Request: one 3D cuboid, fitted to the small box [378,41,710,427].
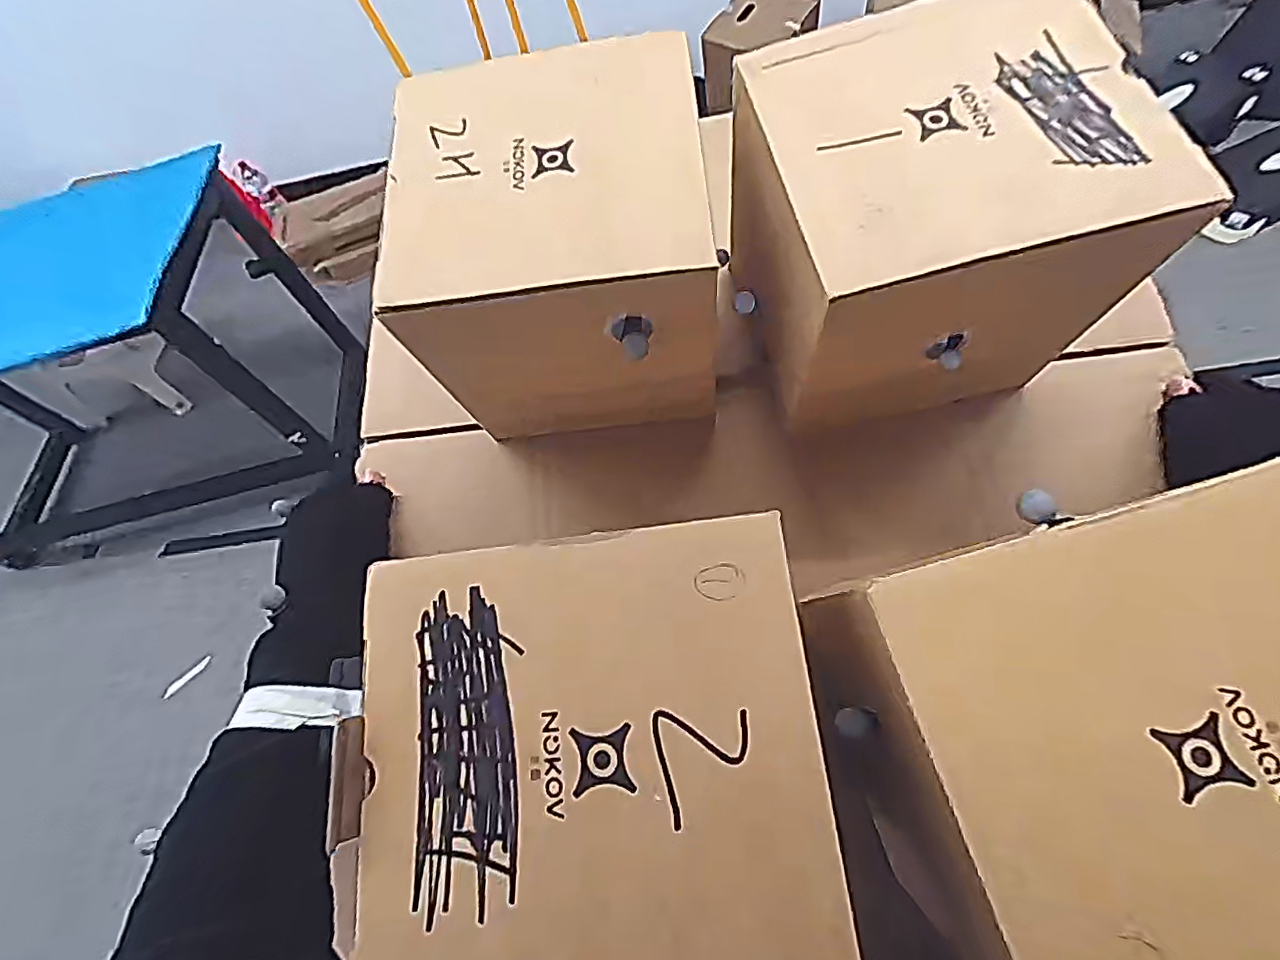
[{"bbox_3d":[-0.046,-0.147,0.375,0.179,0.176,0.168,-5,71,6],"label":"small box"}]
